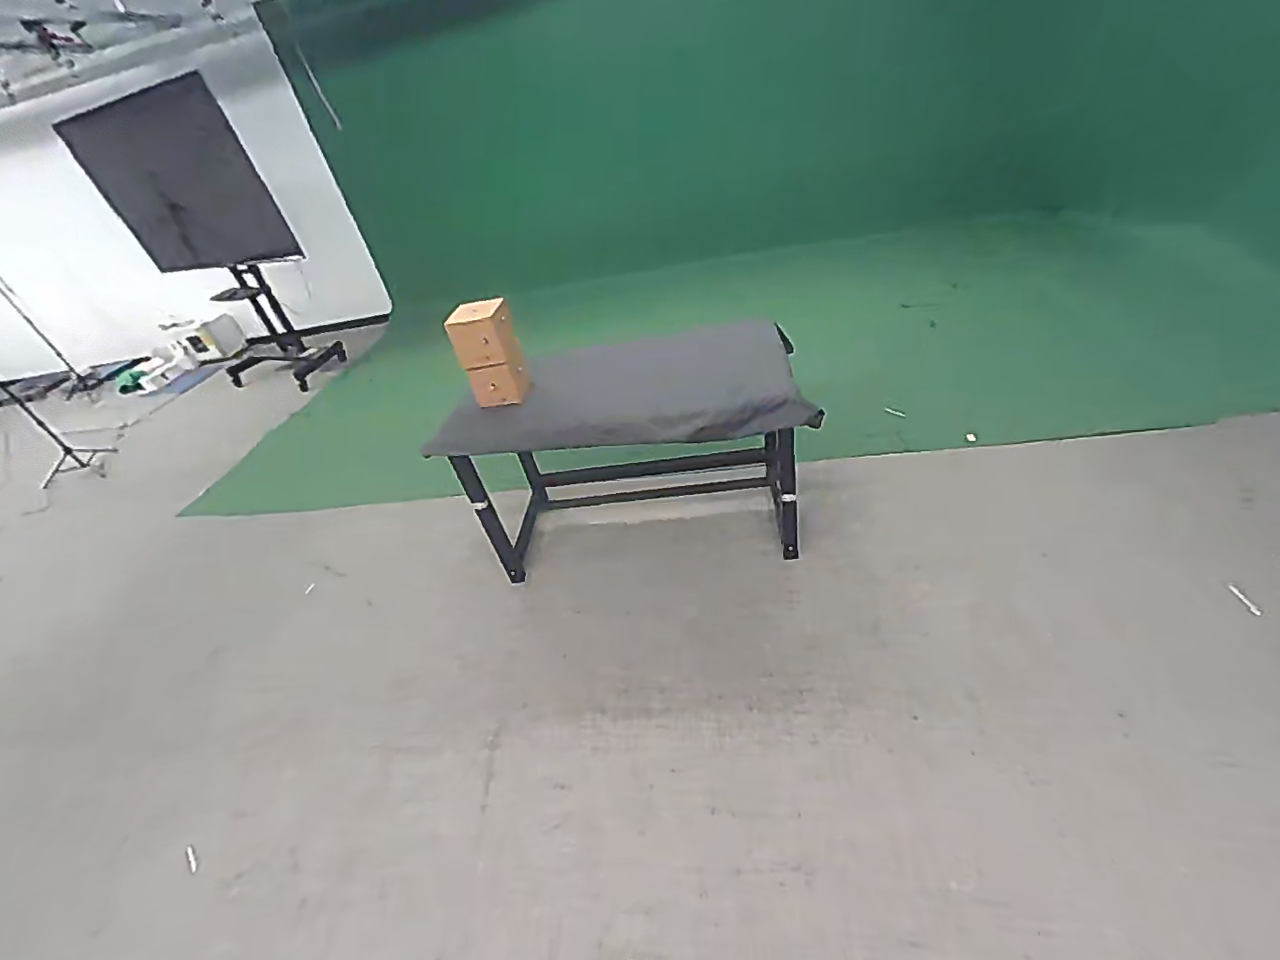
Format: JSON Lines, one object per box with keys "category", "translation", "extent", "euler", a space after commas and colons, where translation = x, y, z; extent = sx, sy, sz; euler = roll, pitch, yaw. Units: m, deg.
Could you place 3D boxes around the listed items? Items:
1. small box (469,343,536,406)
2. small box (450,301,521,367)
{"category": "small box", "translation": [-0.500, -0.385, 1.996], "extent": [0.168, 0.176, 0.179], "euler": [-4, 38, 11]}
{"category": "small box", "translation": [-0.530, -0.503, 1.887], "extent": [0.168, 0.176, 0.179], "euler": [-5, 37, 9]}
